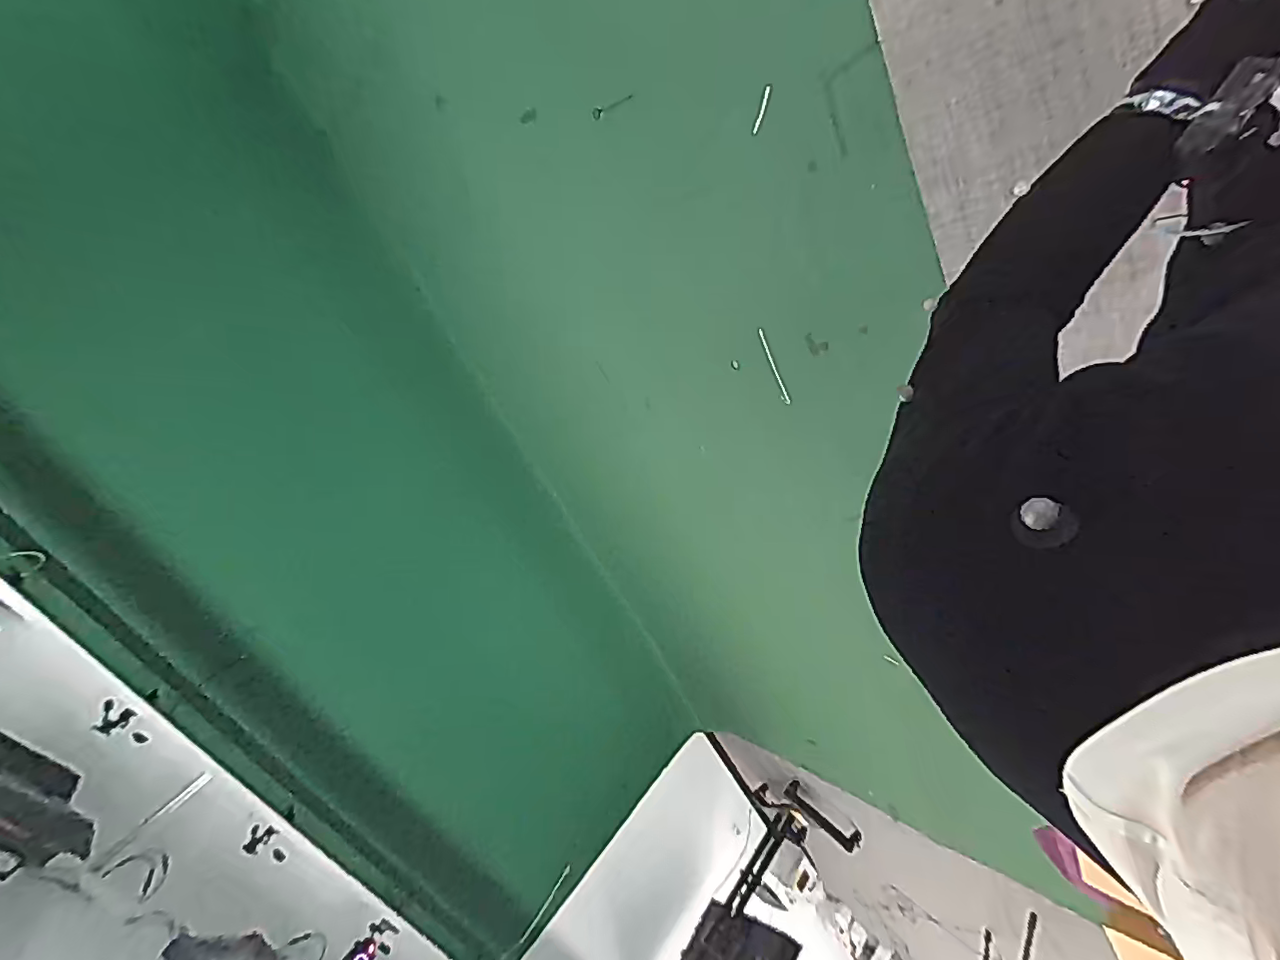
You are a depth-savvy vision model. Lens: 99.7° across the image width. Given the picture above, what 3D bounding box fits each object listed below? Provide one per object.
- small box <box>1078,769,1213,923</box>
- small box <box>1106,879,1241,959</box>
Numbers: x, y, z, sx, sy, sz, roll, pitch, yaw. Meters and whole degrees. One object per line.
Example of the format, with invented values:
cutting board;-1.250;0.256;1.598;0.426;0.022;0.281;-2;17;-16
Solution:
small box;1.027;0.728;1.100;0.179;0.176;0.168;5;132;51
small box;1.189;0.982;1.204;0.179;0.176;0.168;-8;119;56
